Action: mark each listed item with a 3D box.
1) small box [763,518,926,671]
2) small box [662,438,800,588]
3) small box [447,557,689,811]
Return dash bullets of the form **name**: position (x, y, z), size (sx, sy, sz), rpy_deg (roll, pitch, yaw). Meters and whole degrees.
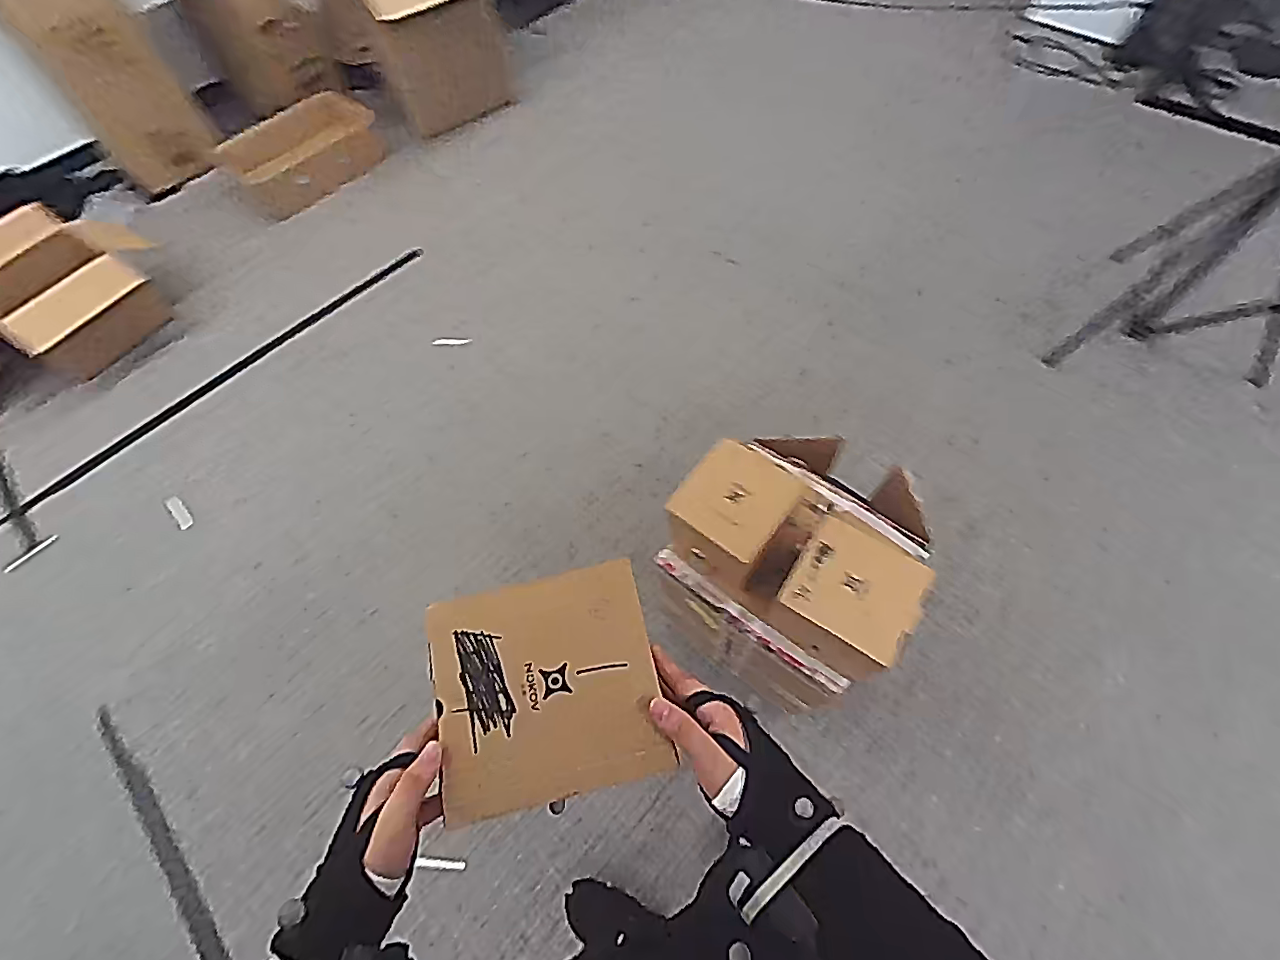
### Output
- **small box**: position (0.321, 0.194, 0.882), size (0.179, 0.176, 0.168), rpy_deg (30, 72, 18)
- **small box**: position (0.159, 0.064, 0.964), size (0.168, 0.176, 0.179), rpy_deg (33, 73, 23)
- **small box**: position (-0.061, 0.187, 0.506), size (0.179, 0.176, 0.168), rpy_deg (-12, 68, -5)
